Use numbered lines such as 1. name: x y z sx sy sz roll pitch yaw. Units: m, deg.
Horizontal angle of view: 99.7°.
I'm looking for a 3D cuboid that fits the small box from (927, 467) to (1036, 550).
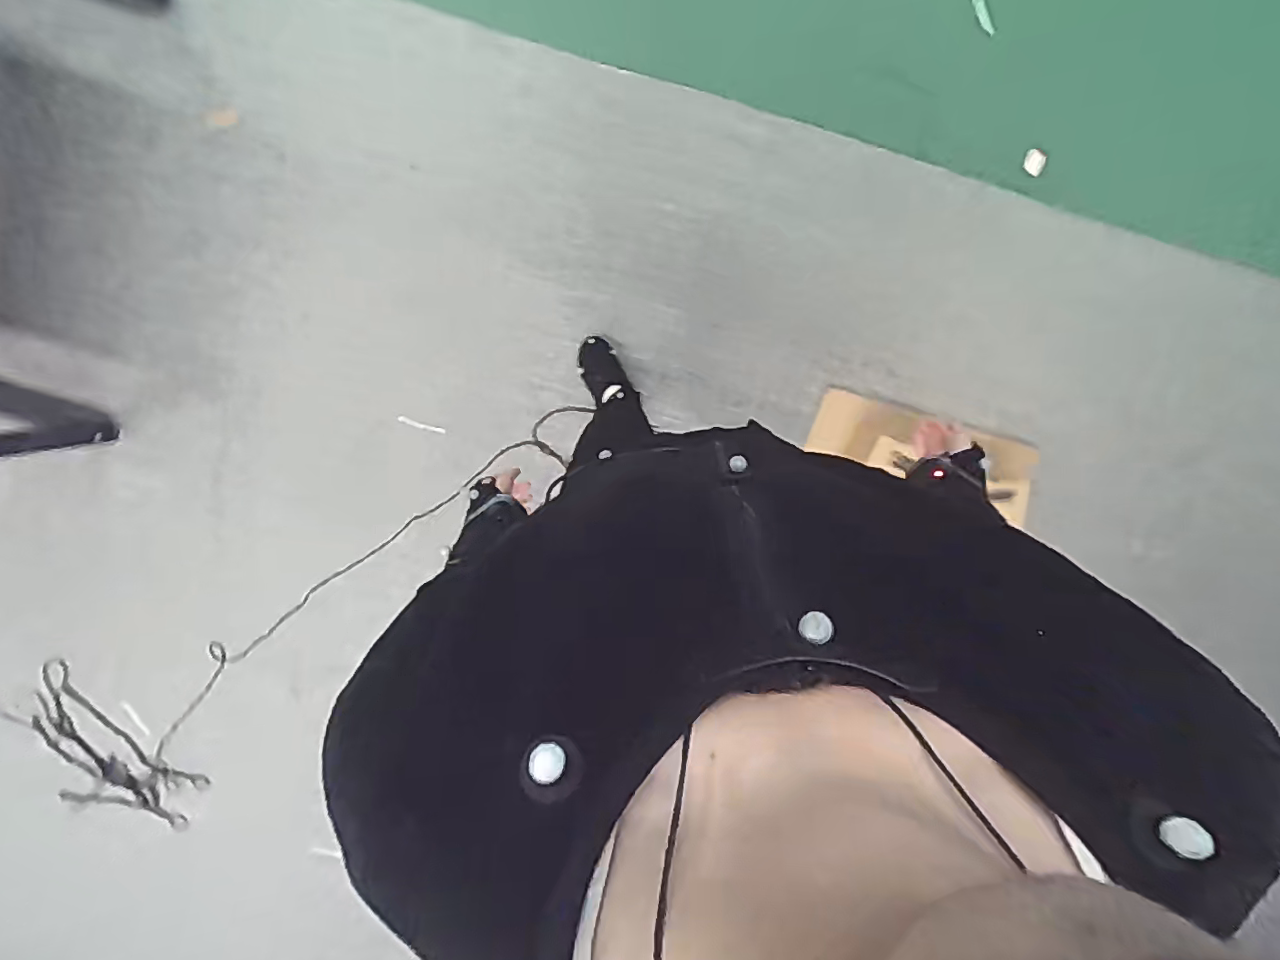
1. small box: 0.866 0.066 1.390 0.168 0.176 0.179 3 104 2
